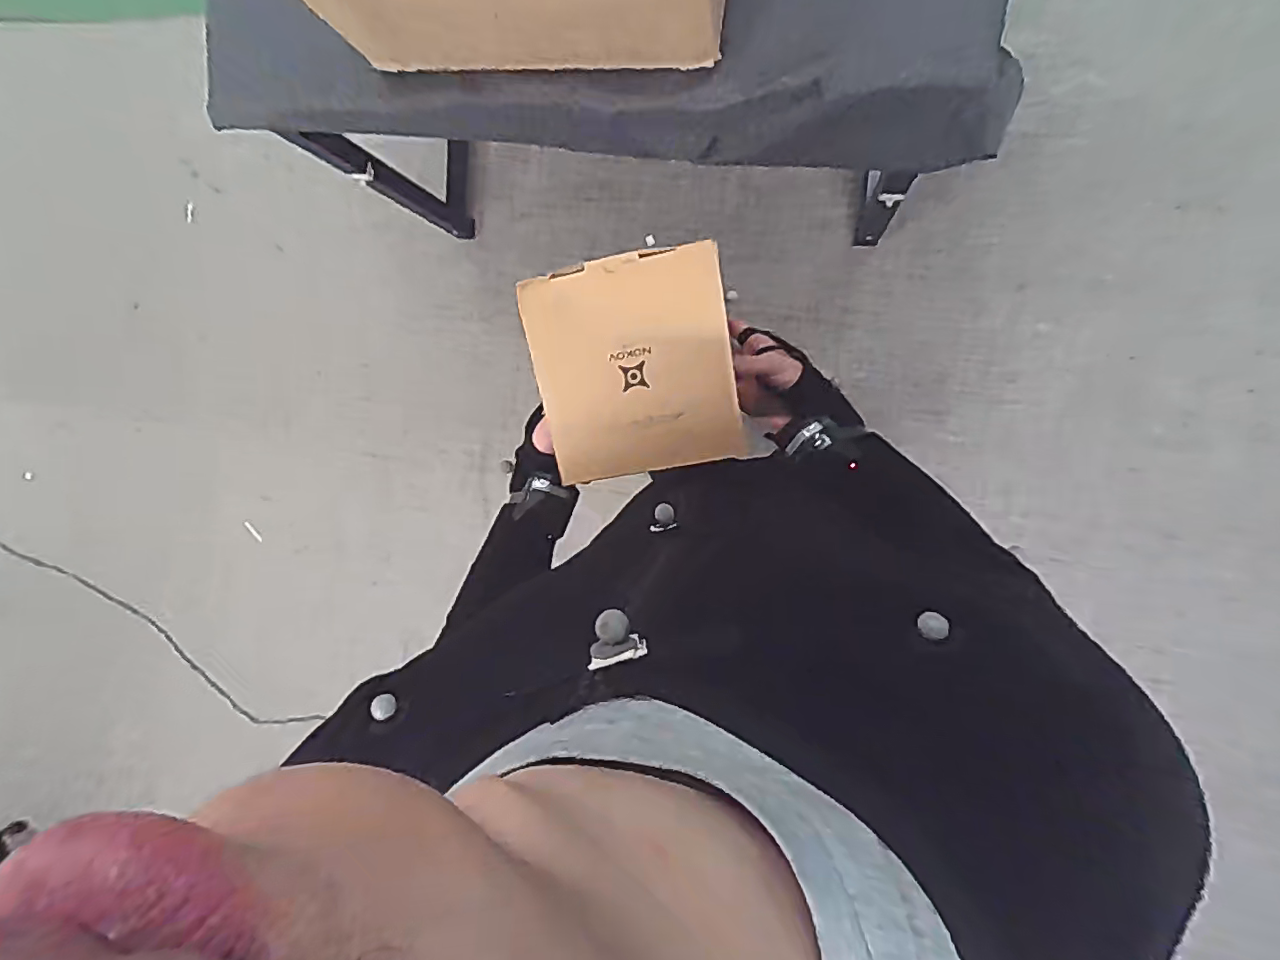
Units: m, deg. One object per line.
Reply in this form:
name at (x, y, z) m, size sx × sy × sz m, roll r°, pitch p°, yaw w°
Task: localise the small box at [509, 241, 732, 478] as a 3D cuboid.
small box at (-0.006, -0.117, 0.524) m, size 0.168 × 0.176 × 0.179 m, roll -7°, pitch 108°, yaw 9°
